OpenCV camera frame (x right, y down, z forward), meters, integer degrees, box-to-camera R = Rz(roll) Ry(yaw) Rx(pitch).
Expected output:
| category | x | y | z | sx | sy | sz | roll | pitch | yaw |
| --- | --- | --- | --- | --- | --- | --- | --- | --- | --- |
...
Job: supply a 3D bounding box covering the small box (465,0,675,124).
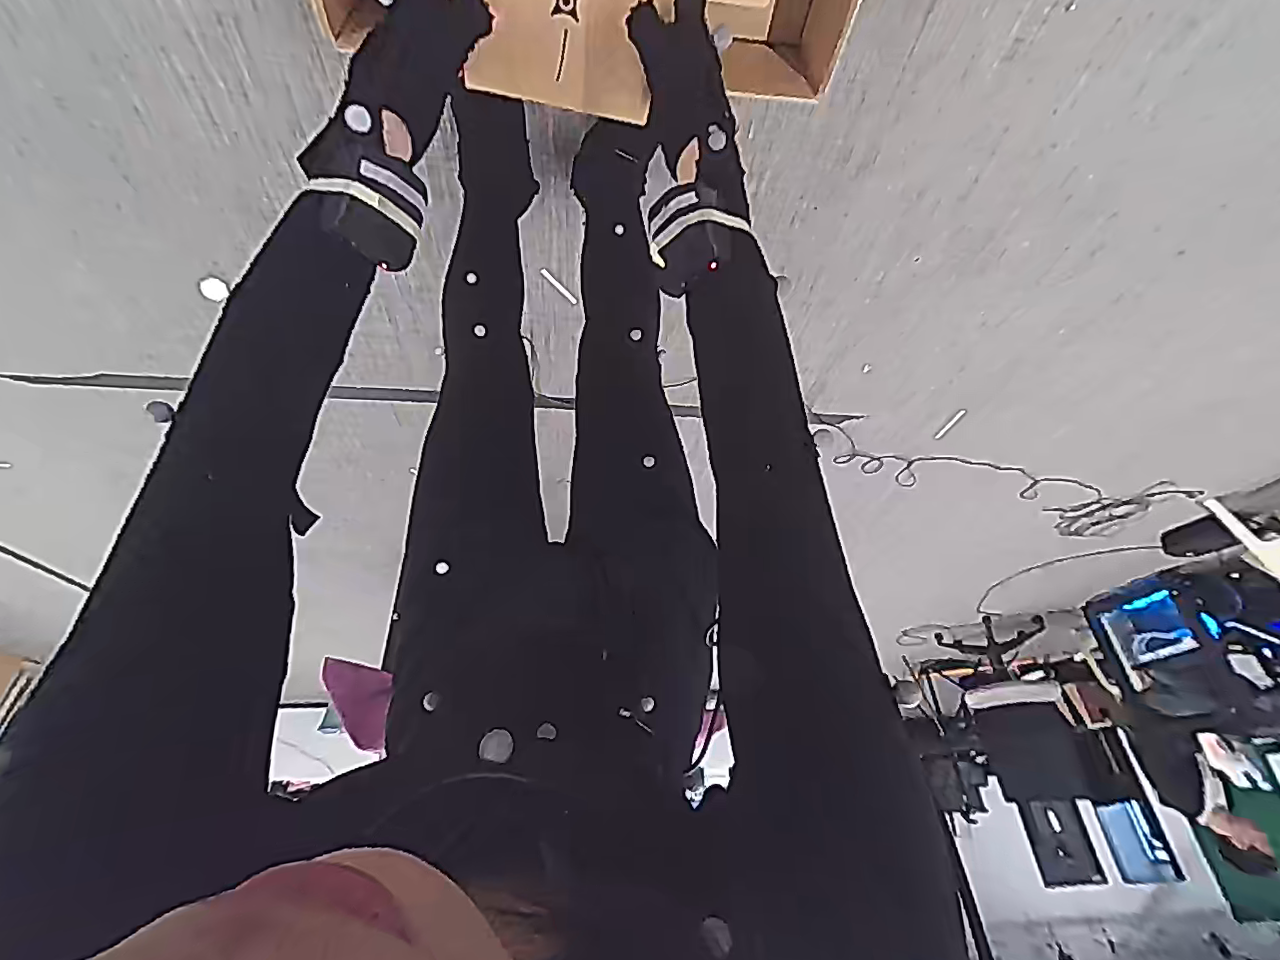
| category | x | y | z | sx | sy | sz | roll | pitch | yaw |
| --- | --- | --- | --- | --- | --- | --- | --- | --- | --- |
| small box | -0.057 | -0.454 | 0.460 | 0.168 | 0.176 | 0.179 | 5 | 150 | -13 |
